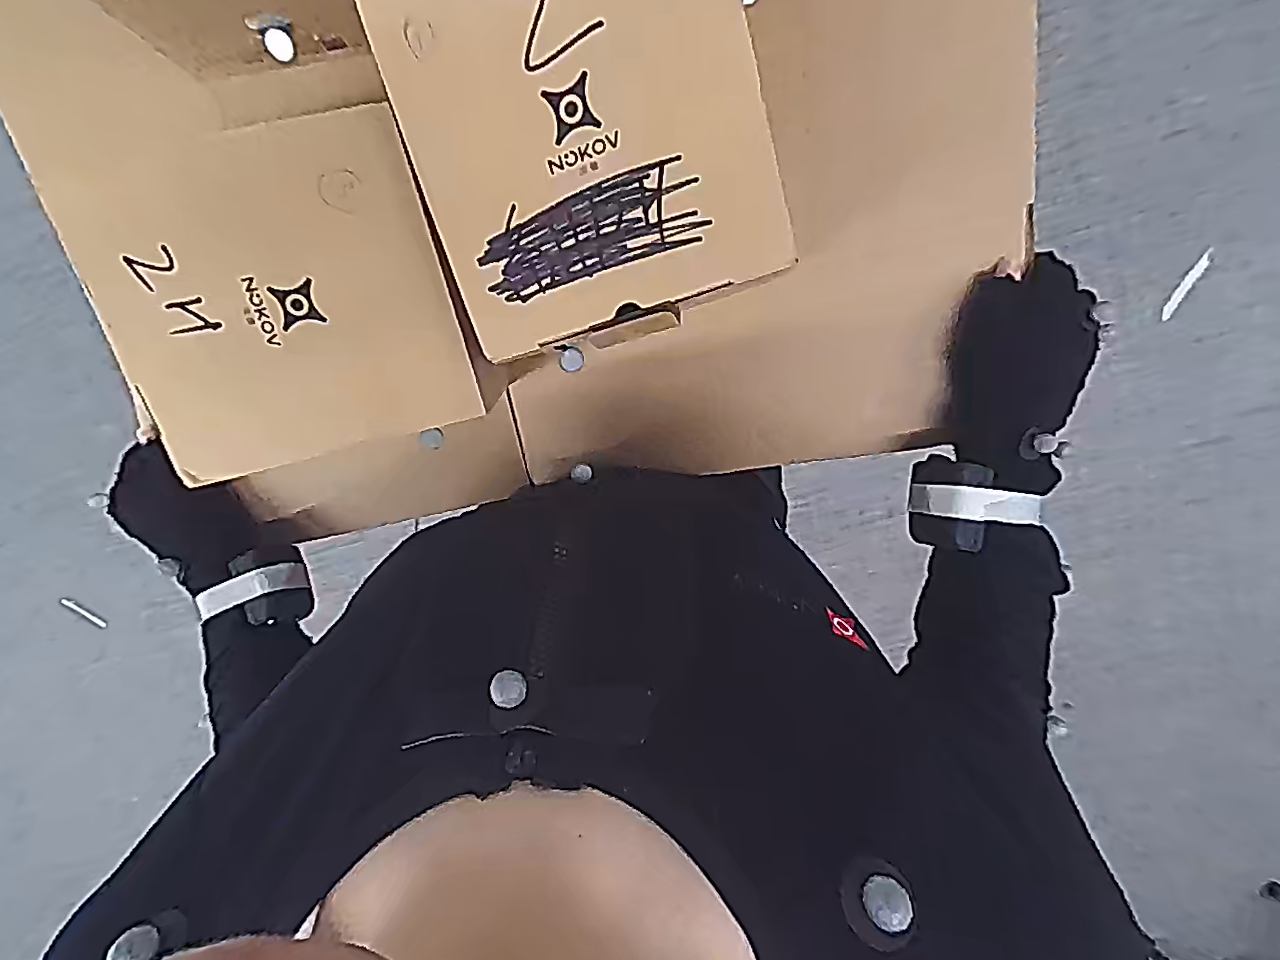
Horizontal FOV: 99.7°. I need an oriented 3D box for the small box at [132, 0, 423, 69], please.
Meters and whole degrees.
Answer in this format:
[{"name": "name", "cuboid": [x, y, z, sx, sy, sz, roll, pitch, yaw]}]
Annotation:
[{"name": "small box", "cuboid": [-0.239, -0.371, 0.293, 0.168, 0.176, 0.179, -14, 107, -5]}]
